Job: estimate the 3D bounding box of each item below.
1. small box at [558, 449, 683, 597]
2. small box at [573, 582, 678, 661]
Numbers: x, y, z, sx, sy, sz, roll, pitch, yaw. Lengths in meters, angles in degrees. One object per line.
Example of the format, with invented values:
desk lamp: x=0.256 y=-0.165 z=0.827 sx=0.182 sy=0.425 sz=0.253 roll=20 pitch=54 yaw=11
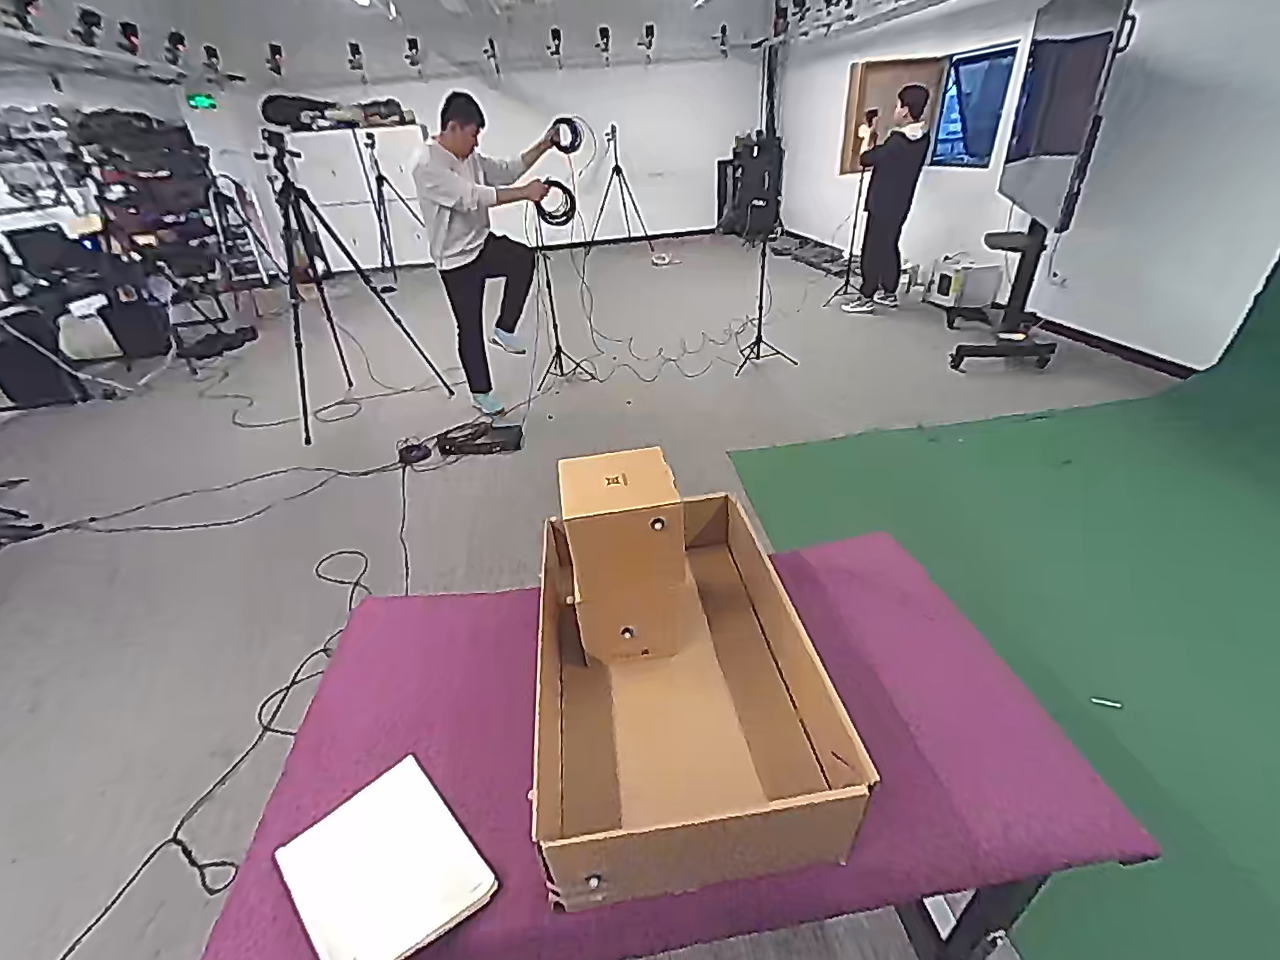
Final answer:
small box: x=-0.031 y=0.070 z=0.877 sx=0.179 sy=0.176 sz=0.168 roll=-8 pitch=34 yaw=-6
small box: x=-0.027 y=0.204 z=0.968 sx=0.168 sy=0.176 sz=0.179 roll=-7 pitch=34 yaw=-4
